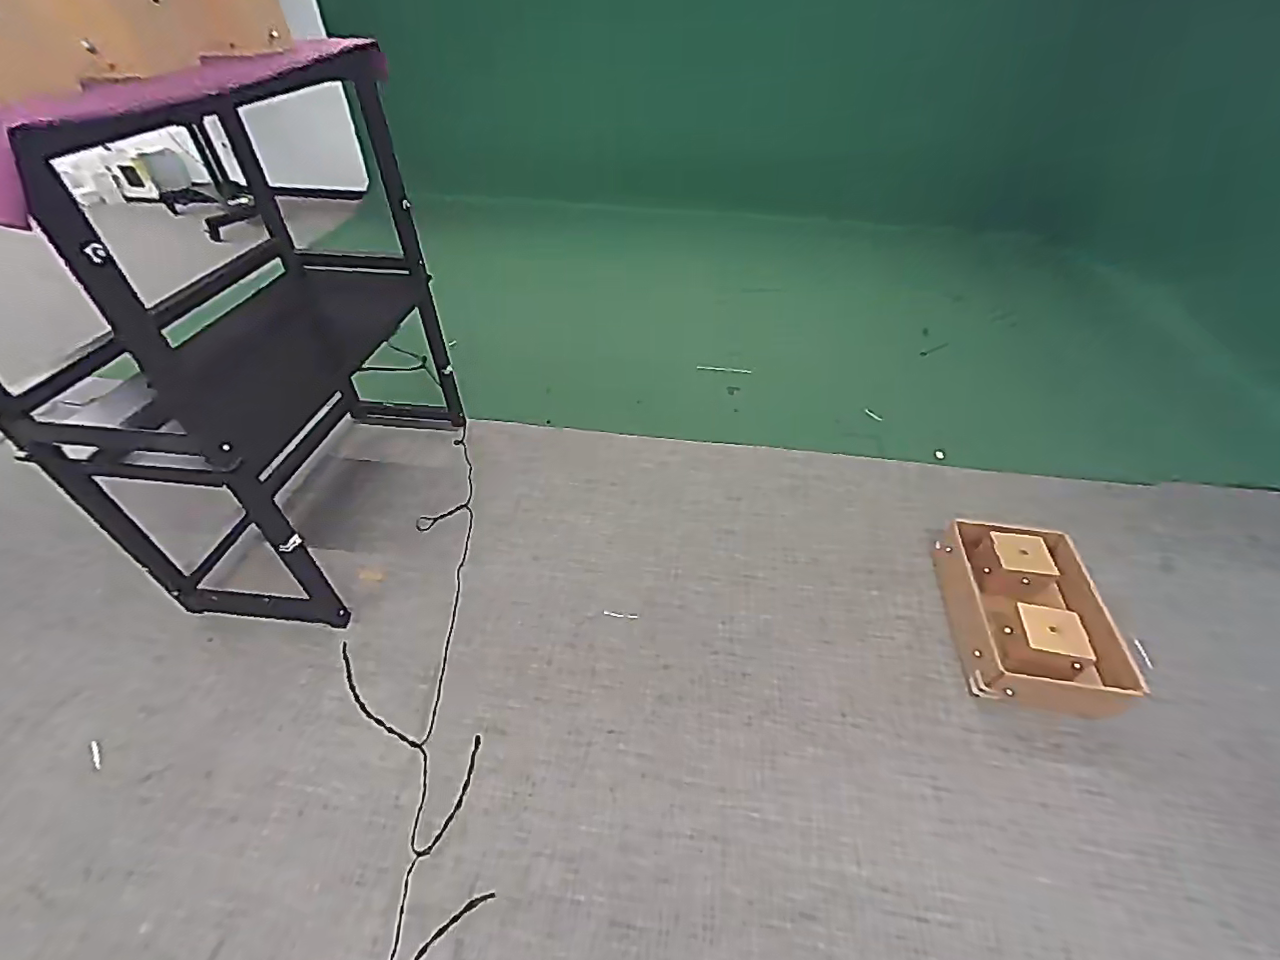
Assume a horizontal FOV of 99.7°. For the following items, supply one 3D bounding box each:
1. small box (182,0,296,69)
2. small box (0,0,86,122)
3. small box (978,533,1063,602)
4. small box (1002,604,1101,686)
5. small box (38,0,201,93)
[{"bbox_3d":[-1.049,-1.197,1.422,0.168,0.176,0.179,3,43,6],"label":"small box"},{"bbox_3d":[-1.122,-0.716,0.912,0.168,0.176,0.179,3,42,3],"label":"small box"},{"bbox_3d":[1.308,0.307,1.879,0.179,0.176,0.168,7,45,6],"label":"small box"},{"bbox_3d":[1.252,0.511,1.666,0.179,0.176,0.168,9,44,9],"label":"small box"},{"bbox_3d":[-1.095,-0.943,1.152,0.168,0.176,0.179,4,44,6],"label":"small box"}]
